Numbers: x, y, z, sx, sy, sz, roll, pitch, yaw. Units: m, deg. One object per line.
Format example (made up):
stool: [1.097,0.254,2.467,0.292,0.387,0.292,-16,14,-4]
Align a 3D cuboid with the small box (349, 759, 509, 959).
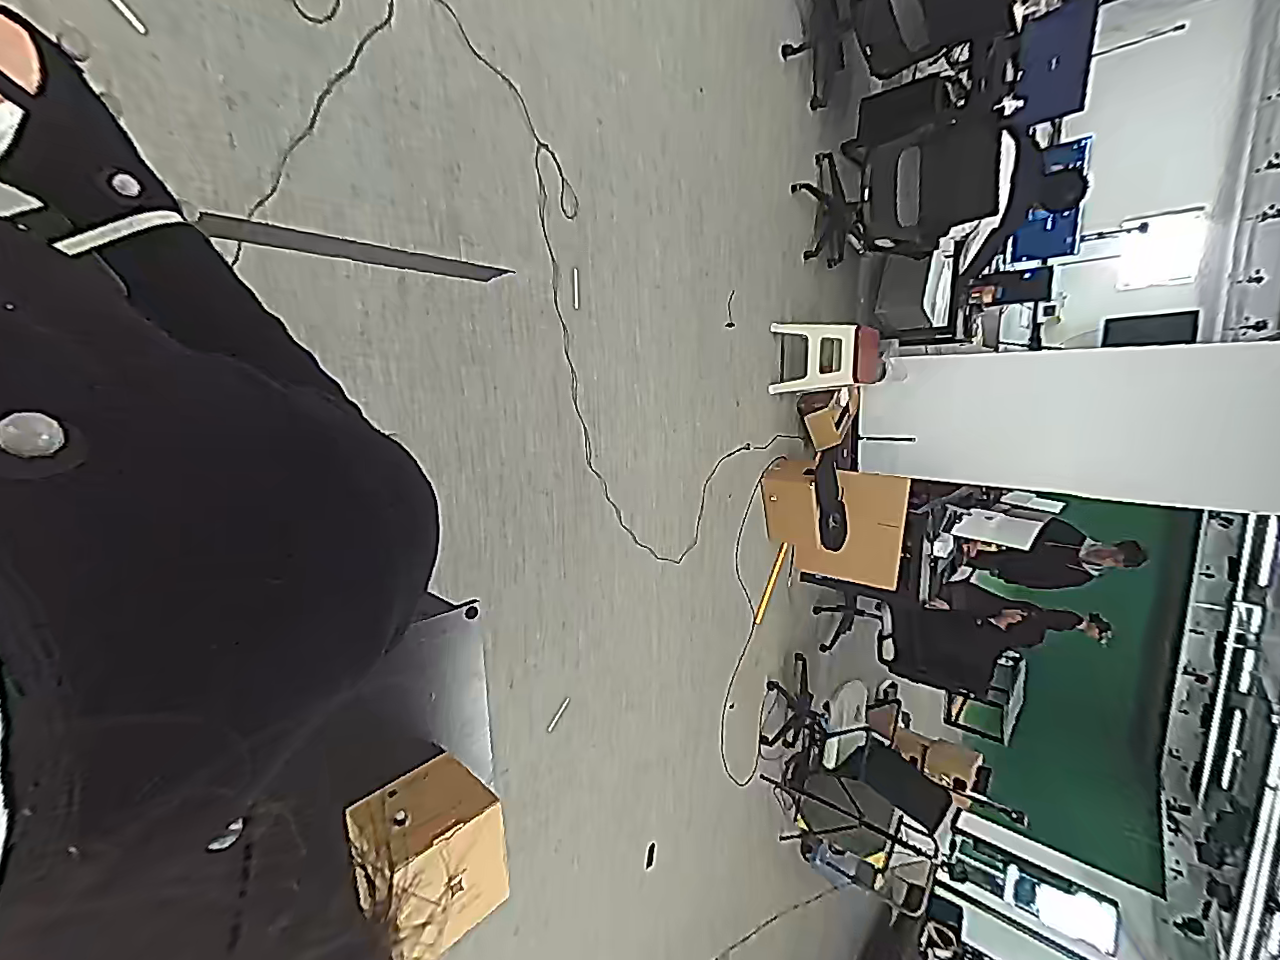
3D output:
small box: [-0.323,0.562,0.827,0.168,0.176,0.179,-15,107,-45]
